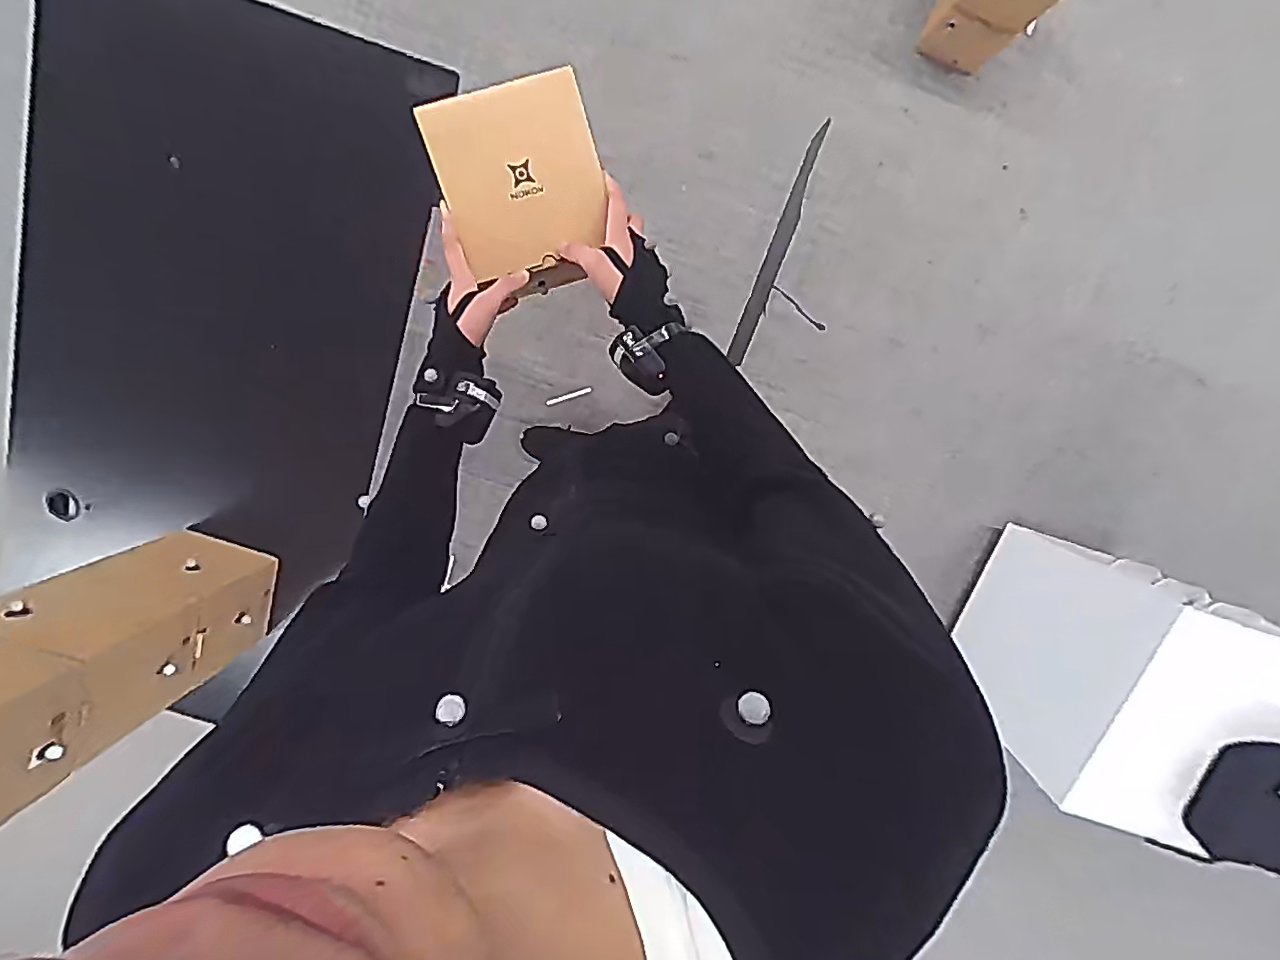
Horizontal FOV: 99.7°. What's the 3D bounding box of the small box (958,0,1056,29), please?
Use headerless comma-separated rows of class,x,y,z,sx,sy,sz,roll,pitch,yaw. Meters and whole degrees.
small box,0.796,-1.075,1.100,0.179,0.176,0.168,19,103,-4

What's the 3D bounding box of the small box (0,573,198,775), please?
small box,-0.748,0.242,0.717,0.179,0.176,0.168,18,104,-2

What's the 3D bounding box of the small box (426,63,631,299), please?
small box,-0.122,-0.325,0.624,0.168,0.176,0.179,-18,105,-5

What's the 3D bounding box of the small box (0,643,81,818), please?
small box,-0.753,0.278,0.558,0.179,0.176,0.168,17,104,-2

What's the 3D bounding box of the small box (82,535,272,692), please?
small box,-0.741,0.205,0.878,0.179,0.176,0.168,17,103,-3
